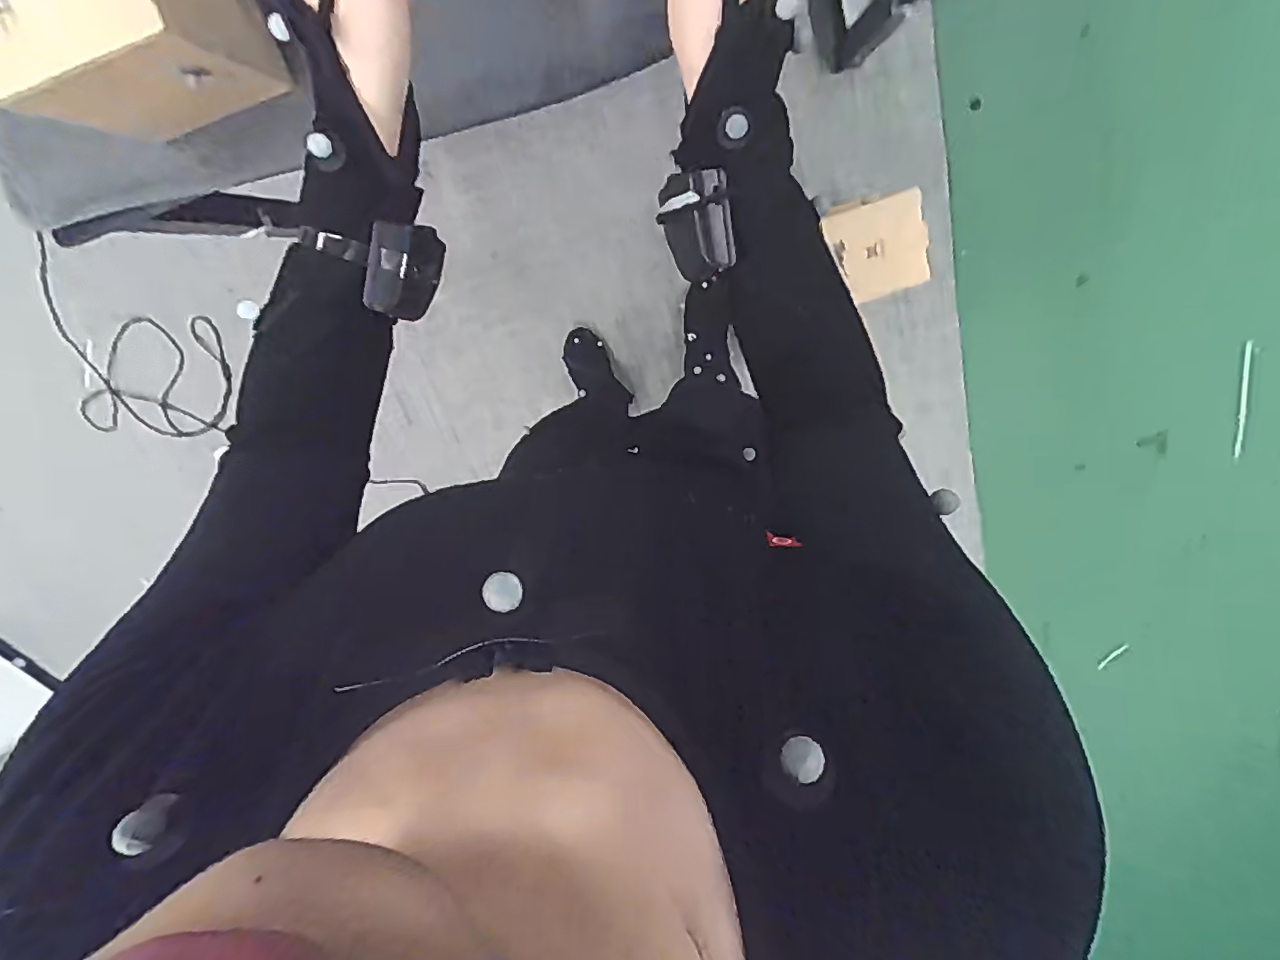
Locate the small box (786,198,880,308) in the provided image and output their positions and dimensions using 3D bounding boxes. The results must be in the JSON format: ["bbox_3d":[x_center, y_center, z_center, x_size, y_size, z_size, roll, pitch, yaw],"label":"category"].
[{"bbox_3d":[0.438,-0.503,1.205,0.168,0.176,0.179,-17,110,9],"label":"small box"}]

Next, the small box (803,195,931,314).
[{"bbox_3d":[0.435,-0.438,1.053,0.179,0.176,0.168,-15,112,8],"label":"small box"}]
